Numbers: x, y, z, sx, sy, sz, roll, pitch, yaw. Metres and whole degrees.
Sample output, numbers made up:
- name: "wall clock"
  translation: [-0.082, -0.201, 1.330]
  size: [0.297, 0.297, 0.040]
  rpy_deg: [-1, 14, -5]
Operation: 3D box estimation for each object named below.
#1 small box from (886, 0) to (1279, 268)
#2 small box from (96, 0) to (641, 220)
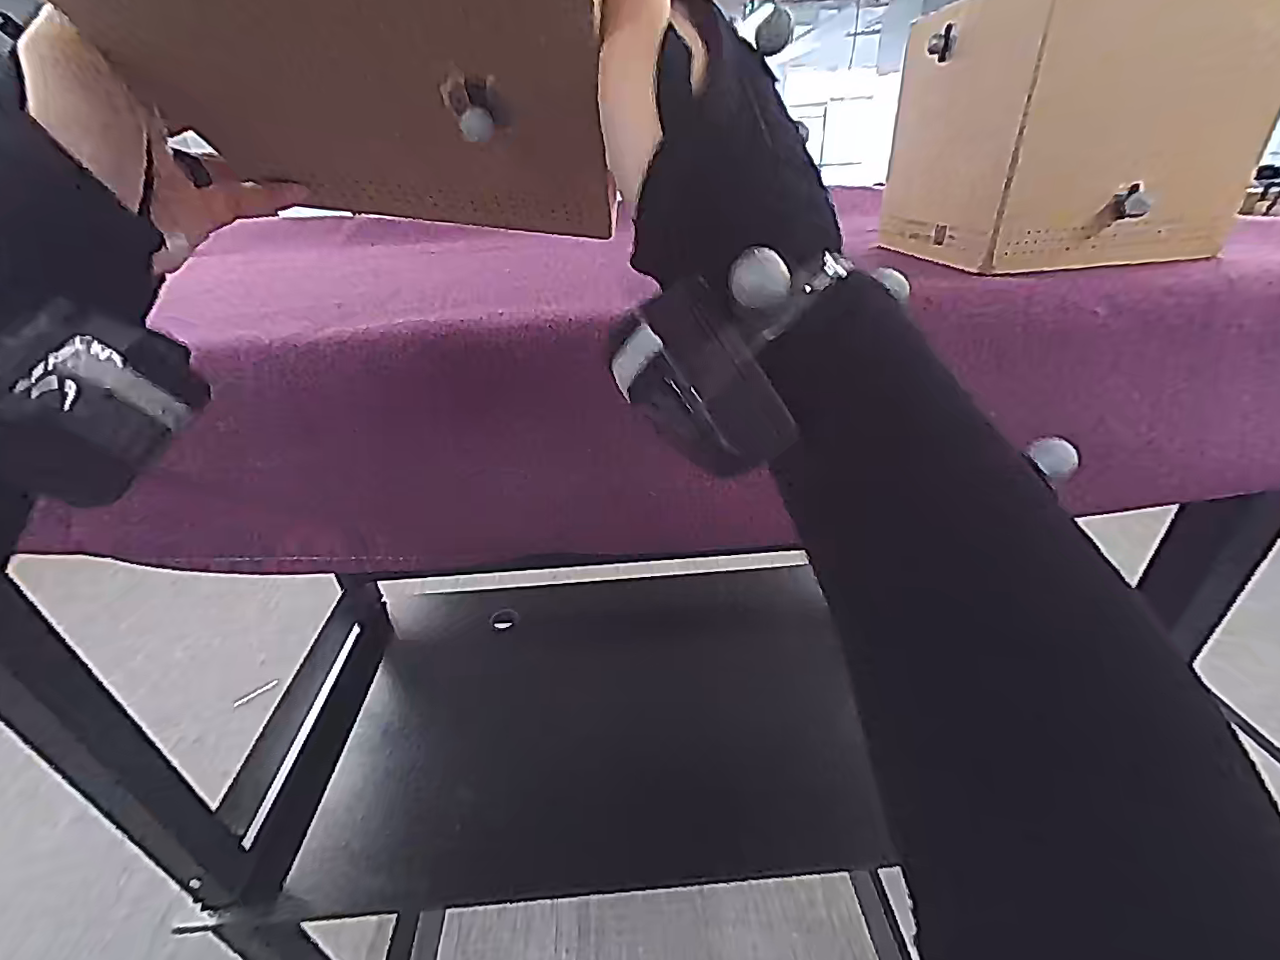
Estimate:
- name: "small box"
  translation: [0.315, -0.263, 0.405]
  size: [0.179, 0.176, 0.168]
  rpy_deg: [-5, 30, -3]
- name: "small box"
  translation: [-0.087, -0.226, 0.206]
  size: [0.179, 0.168, 0.176]
  rpy_deg: [6, -6, 0]
